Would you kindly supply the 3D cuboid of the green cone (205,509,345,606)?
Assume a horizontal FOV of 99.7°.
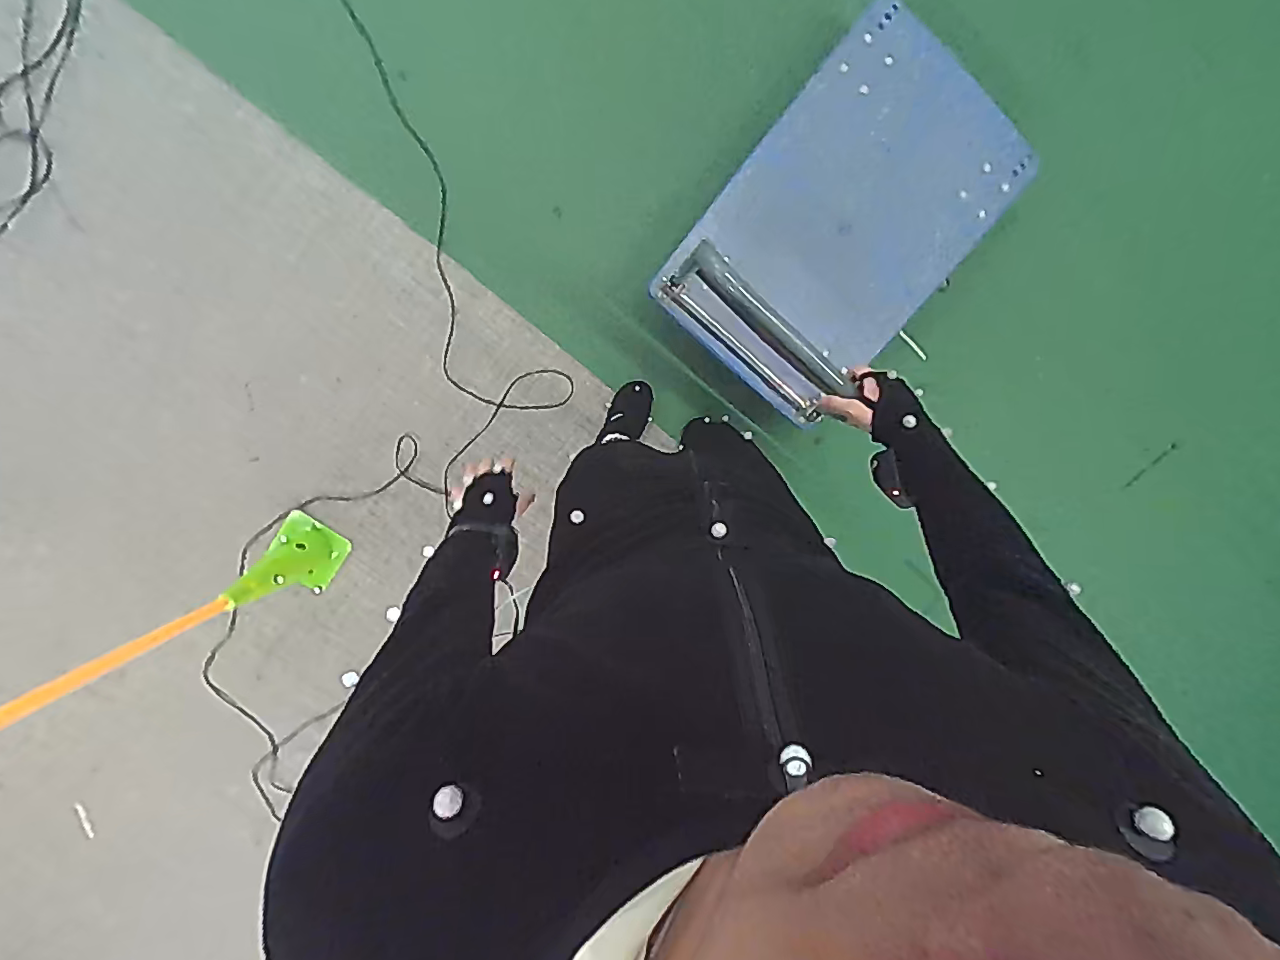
[{"bbox_3d":[-0.999,0.242,1.439,0.202,0.368,0.200,34,99,-8],"label":"green cone"}]
